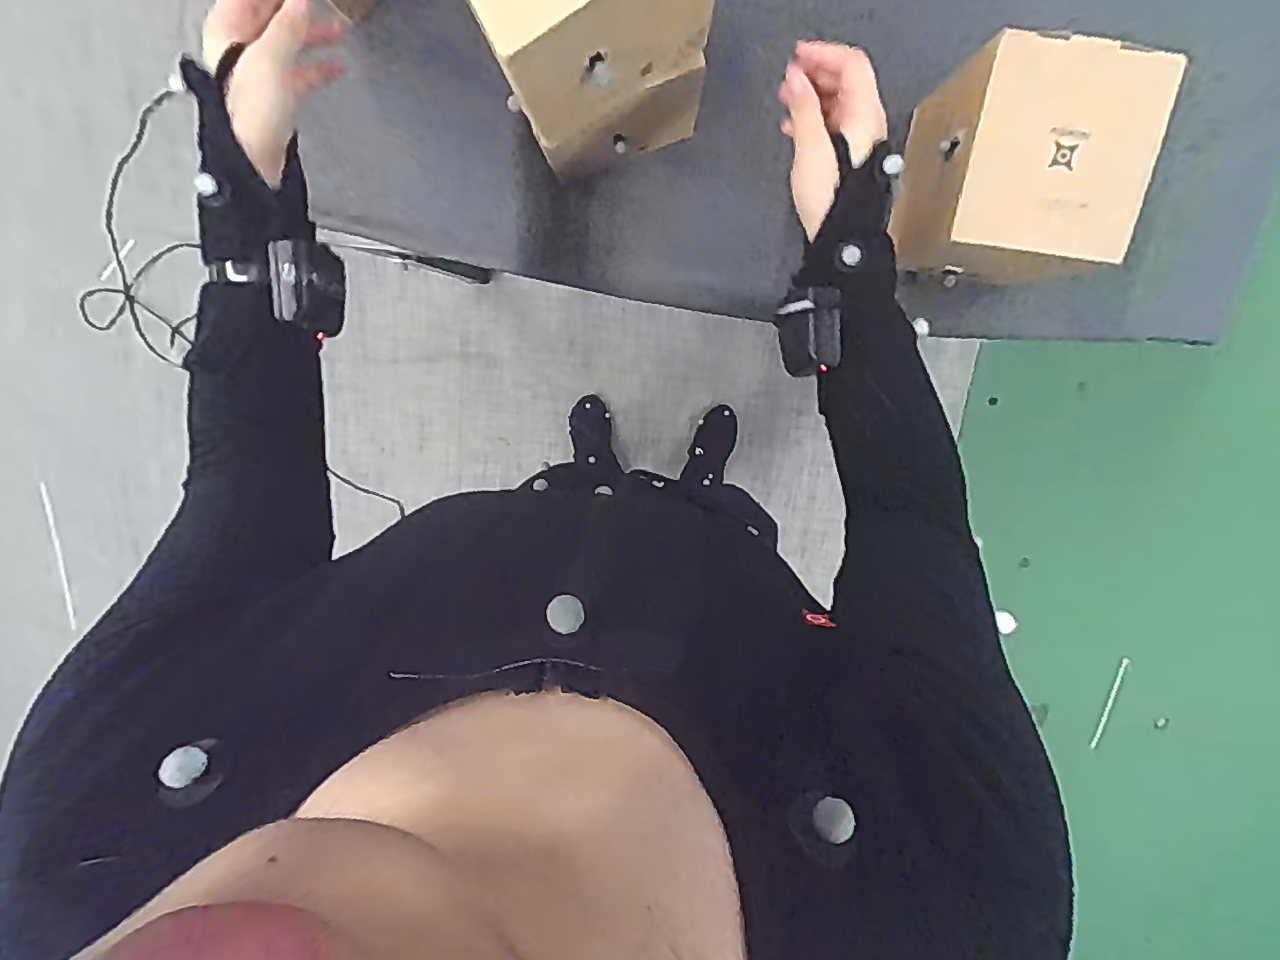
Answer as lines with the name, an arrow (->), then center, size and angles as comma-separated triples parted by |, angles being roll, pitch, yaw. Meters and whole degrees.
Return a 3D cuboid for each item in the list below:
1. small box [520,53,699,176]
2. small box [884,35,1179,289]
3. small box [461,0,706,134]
small box -> -0.046, -0.433, 0.545 | 0.168, 0.176, 0.179 | -18, 103, 5
small box -> 0.381, -0.310, 0.566 | 0.168, 0.176, 0.179 | 8, 103, 1
small box -> -0.056, -0.388, 0.390 | 0.168, 0.176, 0.179 | -29, 101, 8
